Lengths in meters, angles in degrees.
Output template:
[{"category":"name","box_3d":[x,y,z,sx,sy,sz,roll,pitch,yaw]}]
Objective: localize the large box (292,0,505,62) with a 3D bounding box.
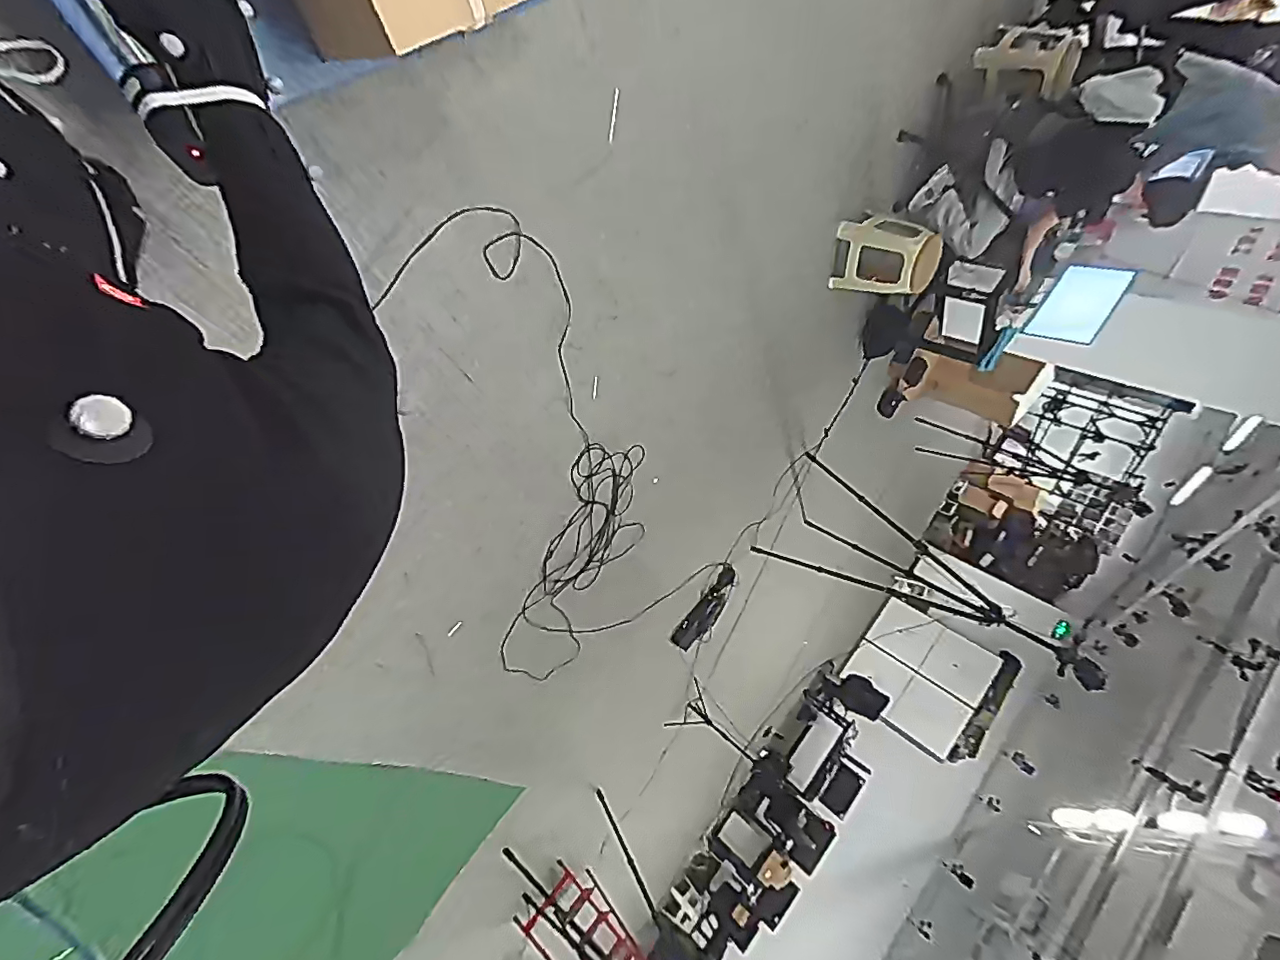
[{"category":"large box","box_3d":[-0.424,-0.930,0.813,0.320,0.320,0.408,-43,140,-20]}]
